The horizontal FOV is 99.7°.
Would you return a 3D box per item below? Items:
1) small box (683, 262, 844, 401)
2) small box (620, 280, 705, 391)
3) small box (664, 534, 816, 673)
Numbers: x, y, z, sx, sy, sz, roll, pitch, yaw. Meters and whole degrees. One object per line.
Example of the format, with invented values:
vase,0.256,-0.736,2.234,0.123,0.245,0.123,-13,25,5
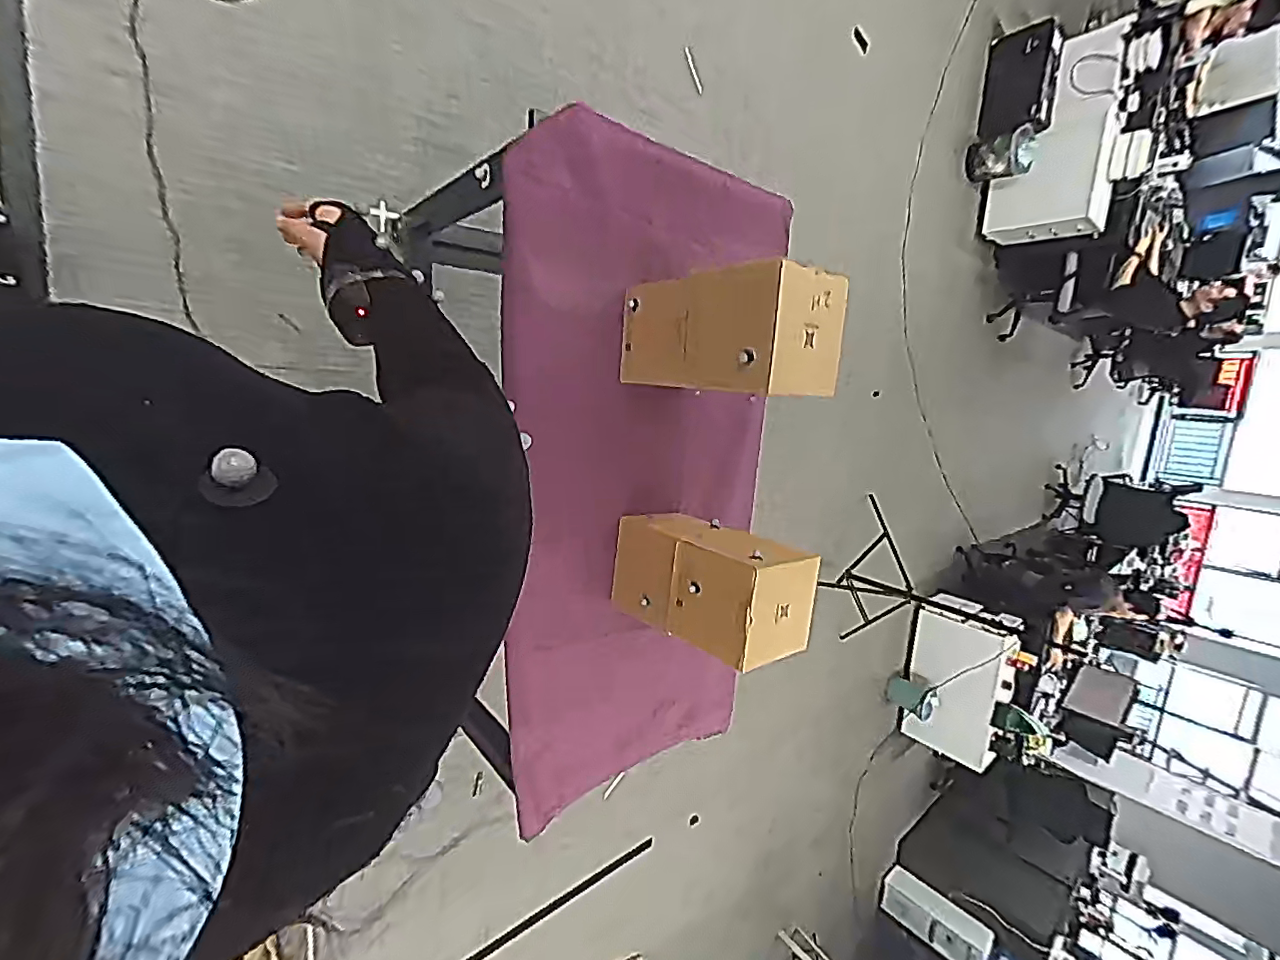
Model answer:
small box,0.183,-0.218,0.826,0.168,0.176,0.179,-5,104,-40
small box,0.082,-0.245,0.954,0.179,0.176,0.168,-5,104,-41
small box,0.166,0.193,0.911,0.179,0.176,0.168,-1,101,-41
